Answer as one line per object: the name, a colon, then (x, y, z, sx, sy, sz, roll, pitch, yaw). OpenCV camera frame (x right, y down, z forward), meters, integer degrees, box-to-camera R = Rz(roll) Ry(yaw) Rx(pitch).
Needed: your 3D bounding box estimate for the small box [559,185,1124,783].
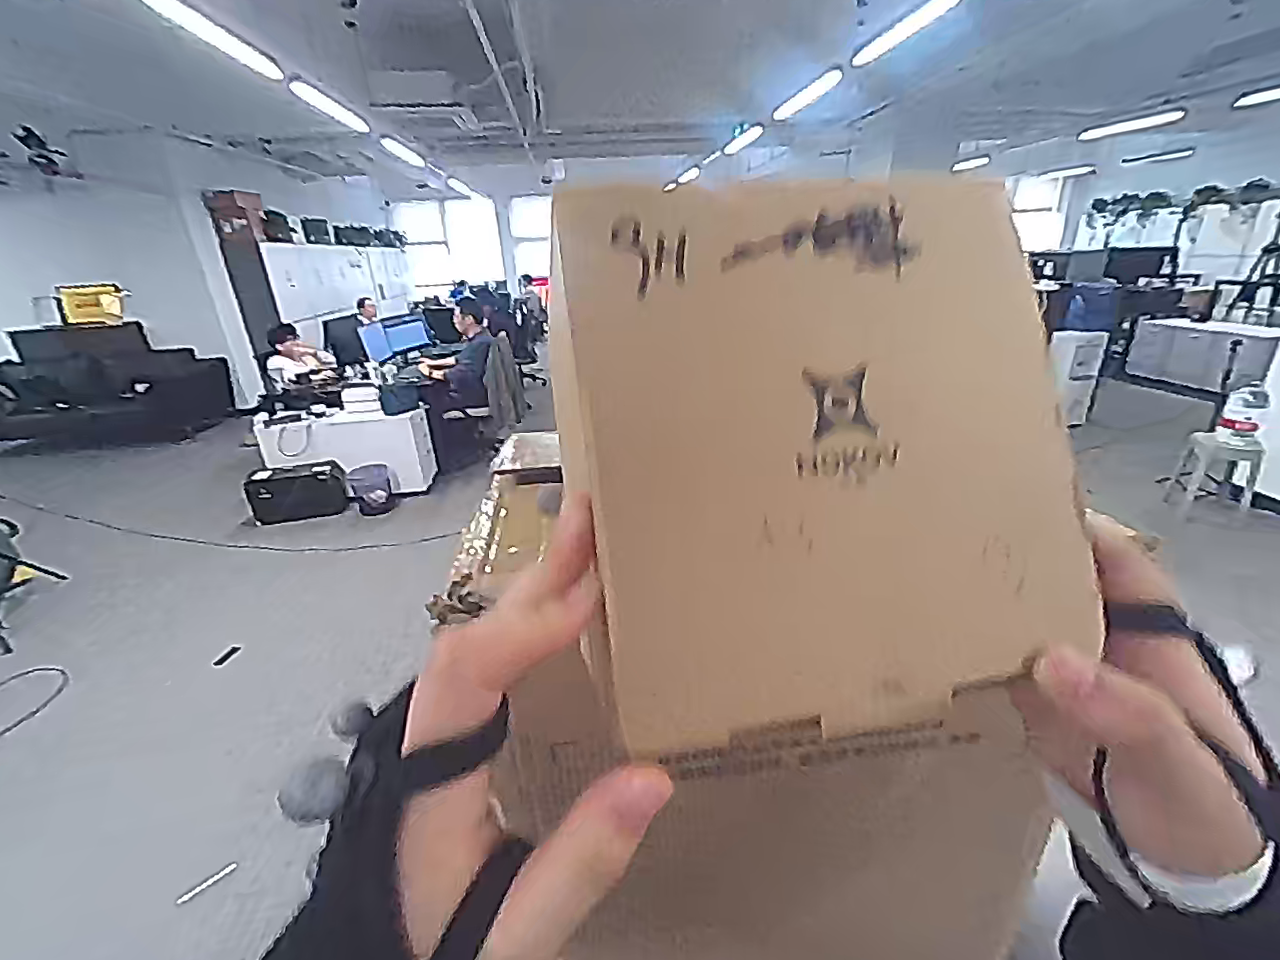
small box: (0.054, -0.001, 0.248, 0.168, 0.179, 0.176, -7, -5, -10)
